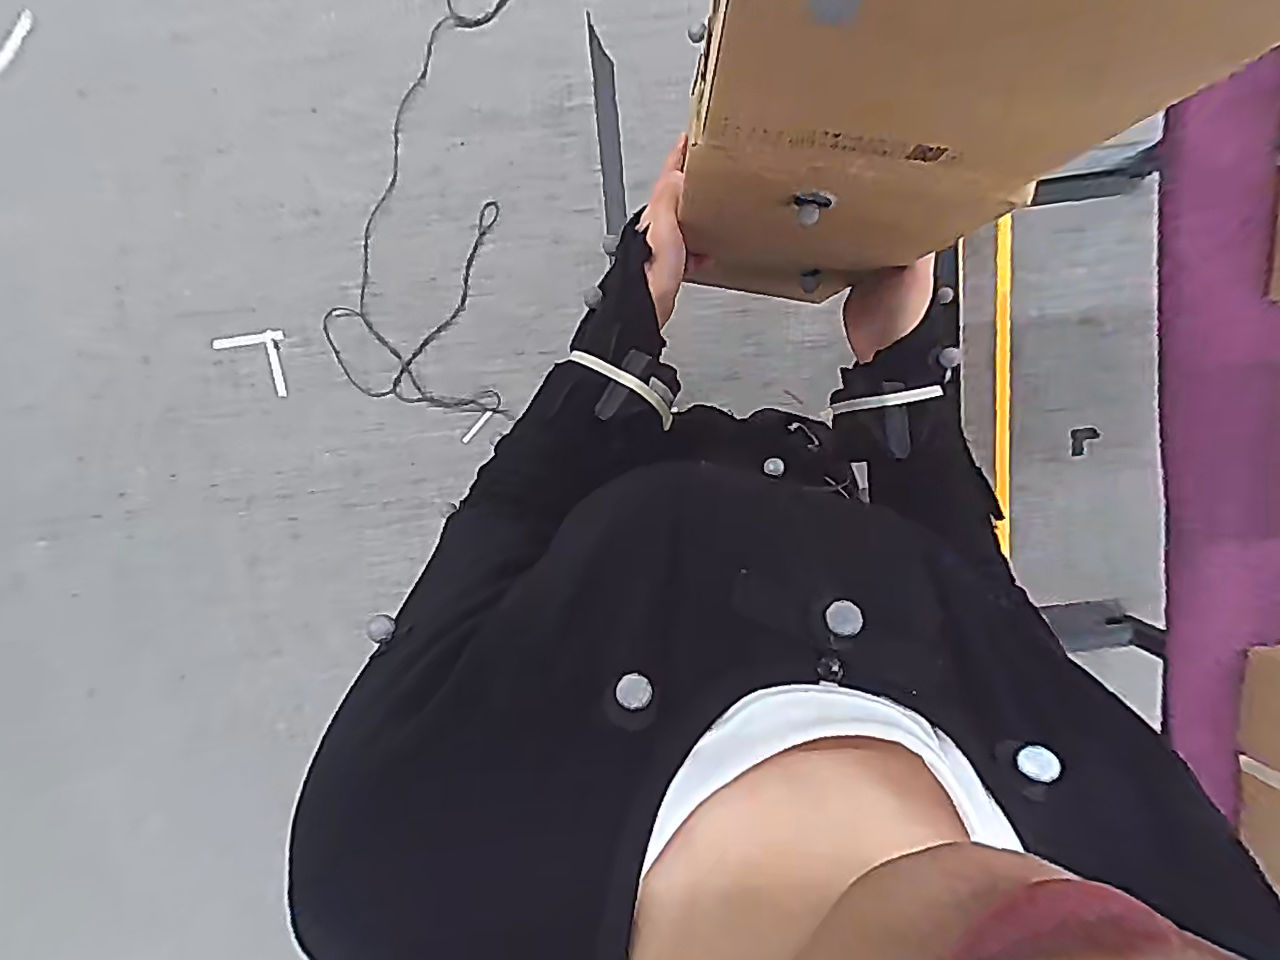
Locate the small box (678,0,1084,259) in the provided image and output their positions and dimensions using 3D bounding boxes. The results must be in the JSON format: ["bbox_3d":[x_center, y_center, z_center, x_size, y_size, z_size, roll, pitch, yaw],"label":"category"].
[{"bbox_3d":[0.123,-0.248,0.330,0.179,0.176,0.168,9,99,-2],"label":"small box"}]

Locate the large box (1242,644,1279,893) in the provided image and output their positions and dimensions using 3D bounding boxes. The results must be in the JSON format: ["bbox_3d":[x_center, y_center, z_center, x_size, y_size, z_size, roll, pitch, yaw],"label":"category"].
[{"bbox_3d":[0.954,0.345,0.532,0.408,0.320,0.320,-7,99,-1],"label":"large box"}]
